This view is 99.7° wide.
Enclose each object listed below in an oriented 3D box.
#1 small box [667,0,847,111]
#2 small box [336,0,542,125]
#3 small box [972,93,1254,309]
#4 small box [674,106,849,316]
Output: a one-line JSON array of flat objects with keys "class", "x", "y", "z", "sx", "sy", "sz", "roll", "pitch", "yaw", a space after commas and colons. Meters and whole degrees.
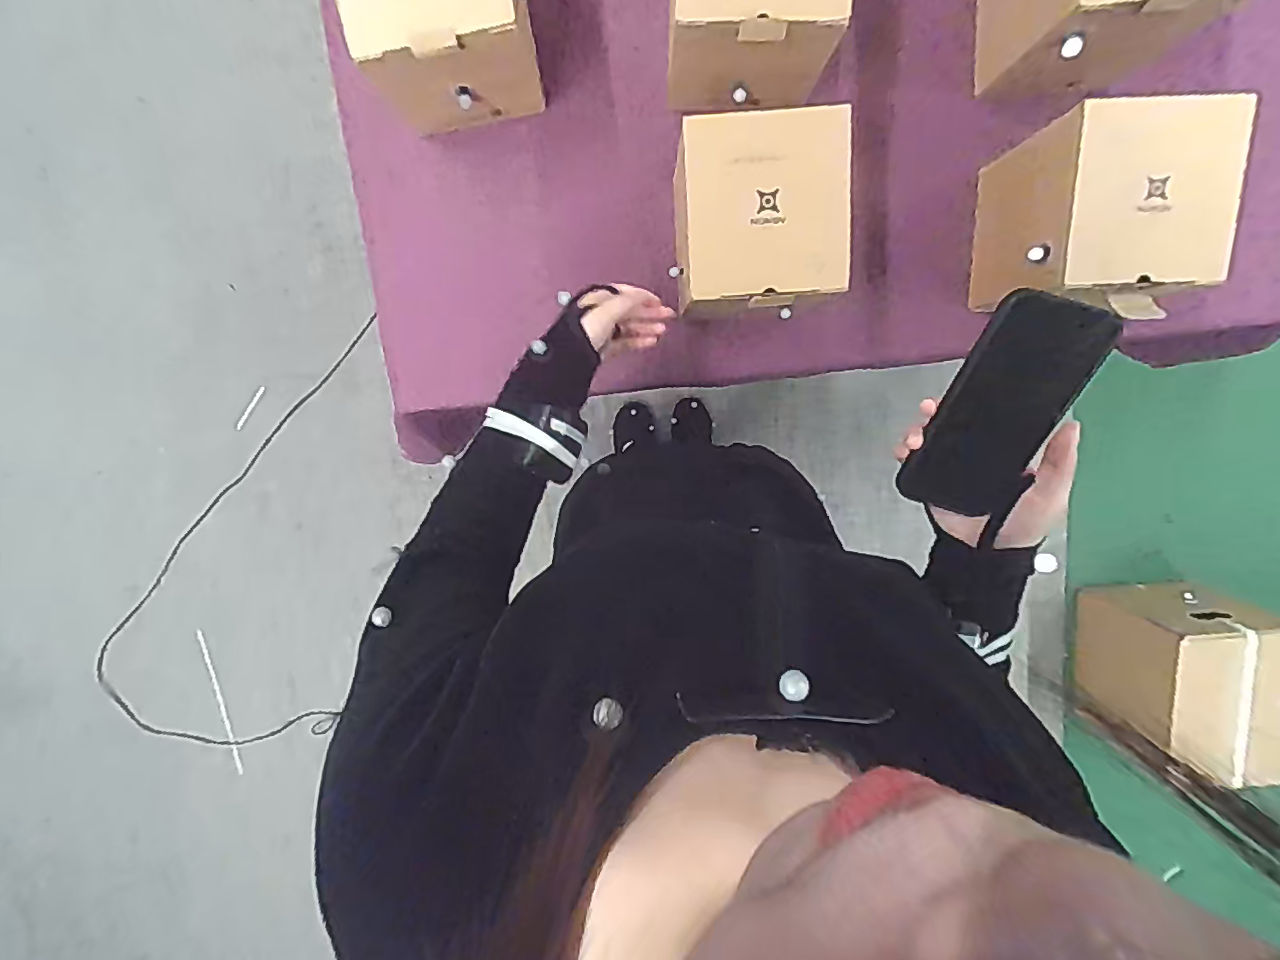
[{"class": "small box", "x": 0.115, "y": -0.529, "z": 0.572, "sx": 0.168, "sy": 0.176, "sz": 0.179, "roll": 1, "pitch": 101, "yaw": 1}, {"class": "small box", "x": -0.212, "y": -0.513, "z": 0.581, "sx": 0.168, "sy": 0.176, "sz": 0.179, "roll": -10, "pitch": 101, "yaw": 2}, {"class": "small box", "x": 0.506, "y": -0.296, "z": 0.609, "sx": 0.168, "sy": 0.176, "sz": 0.179, "roll": -1, "pitch": 101, "yaw": 1}, {"class": "small box", "x": 0.127, "y": -0.286, "z": 0.618, "sx": 0.168, "sy": 0.176, "sz": 0.179, "roll": -4, "pitch": 99, "yaw": 1}]
